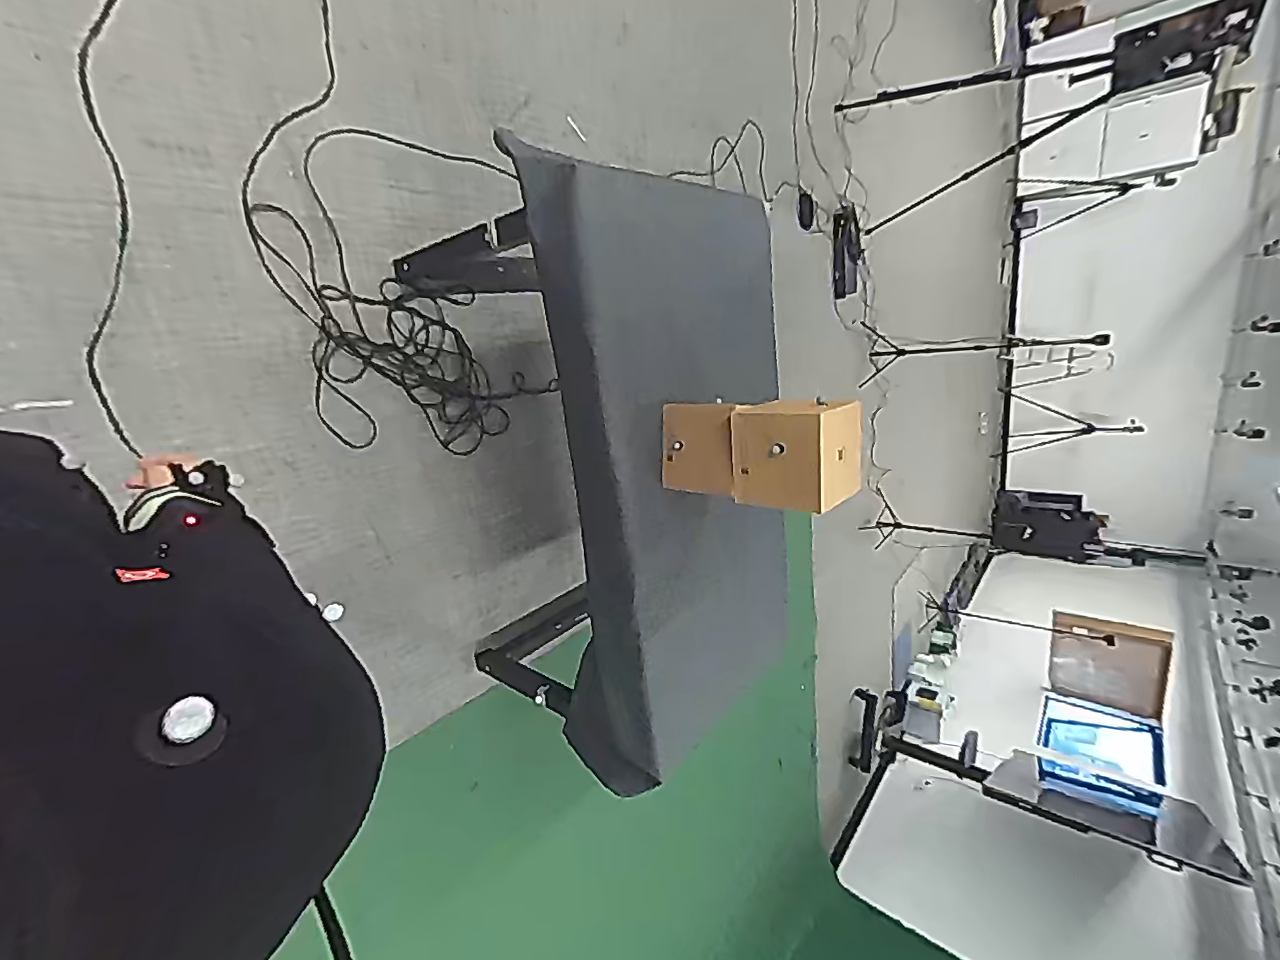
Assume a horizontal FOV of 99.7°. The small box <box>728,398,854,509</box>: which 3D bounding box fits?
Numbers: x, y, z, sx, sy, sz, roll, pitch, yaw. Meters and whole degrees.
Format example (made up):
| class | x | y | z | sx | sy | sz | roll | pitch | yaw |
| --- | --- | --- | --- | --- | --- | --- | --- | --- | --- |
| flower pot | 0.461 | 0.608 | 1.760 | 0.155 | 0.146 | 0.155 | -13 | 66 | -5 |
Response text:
| class | x | y | z | sx | sy | sz | roll | pitch | yaw |
| --- | --- | --- | --- | --- | --- | --- | --- | --- | --- |
| small box | 0.268 | -0.054 | 0.969 | 0.179 | 0.176 | 0.168 | -19 | 109 | -47 |
